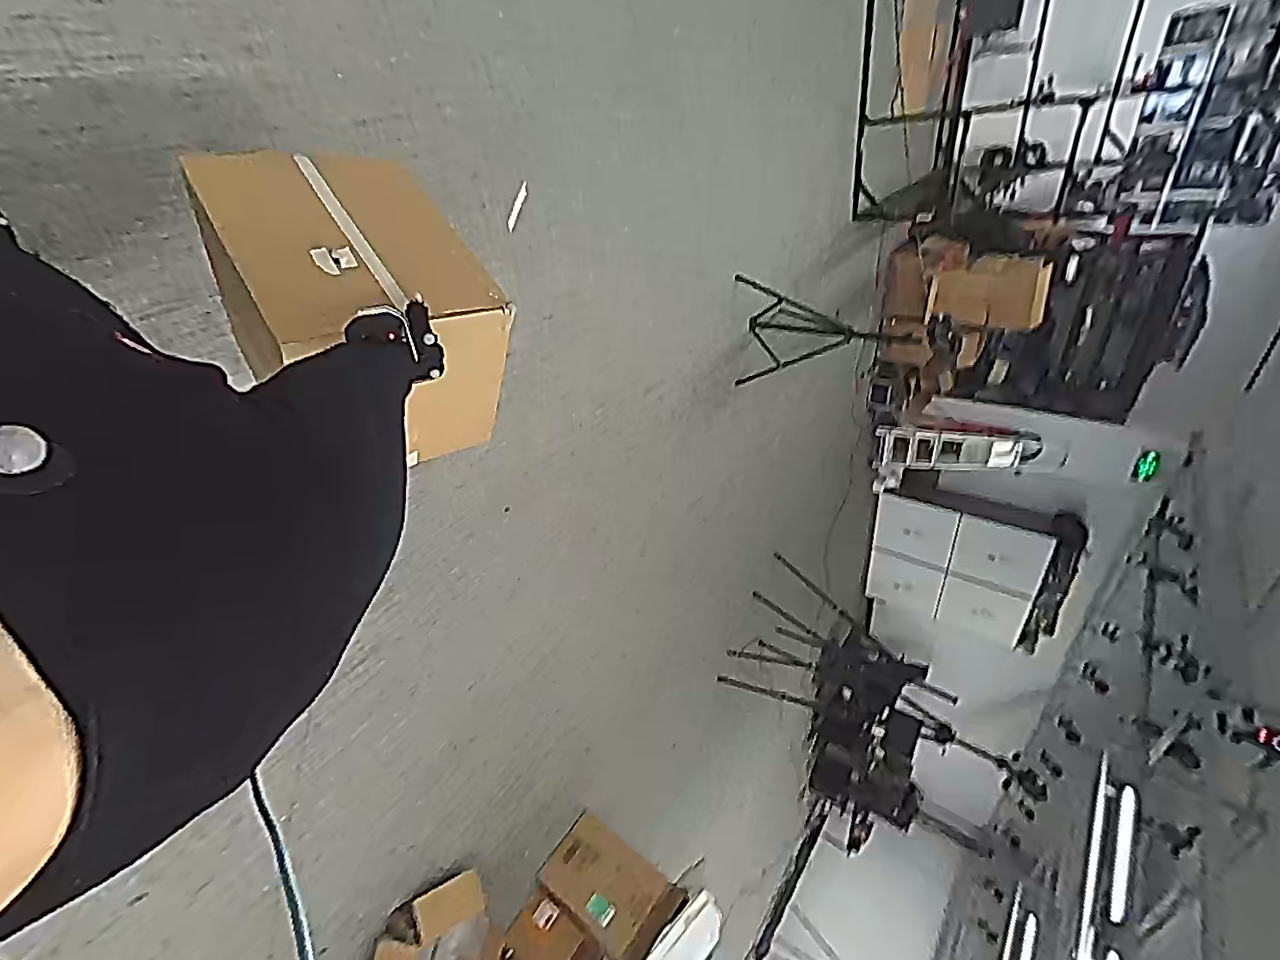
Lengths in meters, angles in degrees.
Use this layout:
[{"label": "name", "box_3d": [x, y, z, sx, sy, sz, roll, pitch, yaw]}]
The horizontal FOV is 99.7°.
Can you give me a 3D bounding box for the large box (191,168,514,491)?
[{"label": "large box", "box_3d": [-0.473, -0.258, 0.913, 0.320, 0.408, 0.320, -23, 157, -36]}]
